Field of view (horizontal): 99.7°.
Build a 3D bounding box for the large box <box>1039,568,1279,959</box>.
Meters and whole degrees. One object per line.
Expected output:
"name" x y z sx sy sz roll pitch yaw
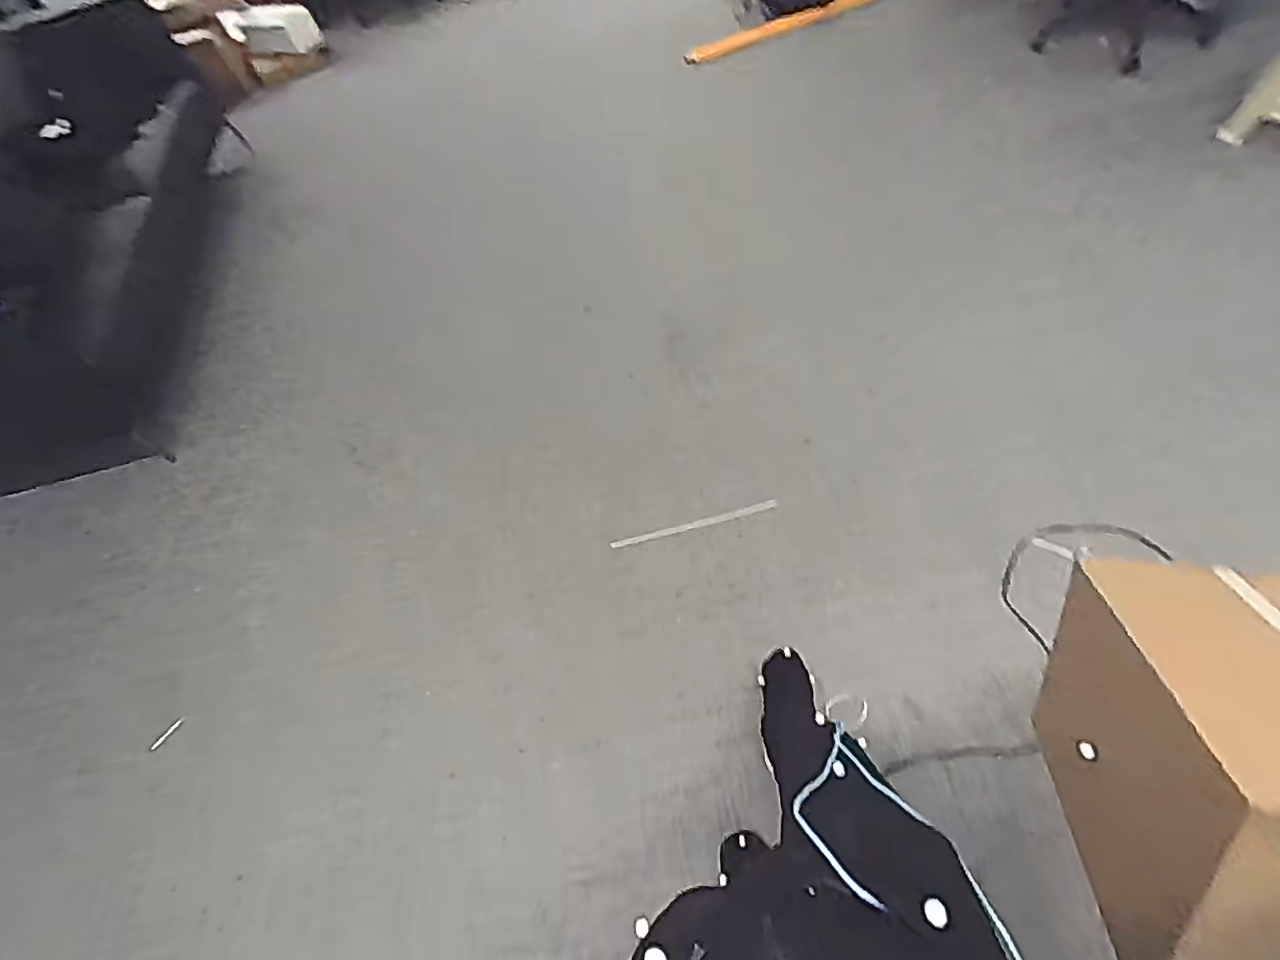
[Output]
"large box" 0.714 0.346 0.609 0.320 0.320 0.408 4 23 19
